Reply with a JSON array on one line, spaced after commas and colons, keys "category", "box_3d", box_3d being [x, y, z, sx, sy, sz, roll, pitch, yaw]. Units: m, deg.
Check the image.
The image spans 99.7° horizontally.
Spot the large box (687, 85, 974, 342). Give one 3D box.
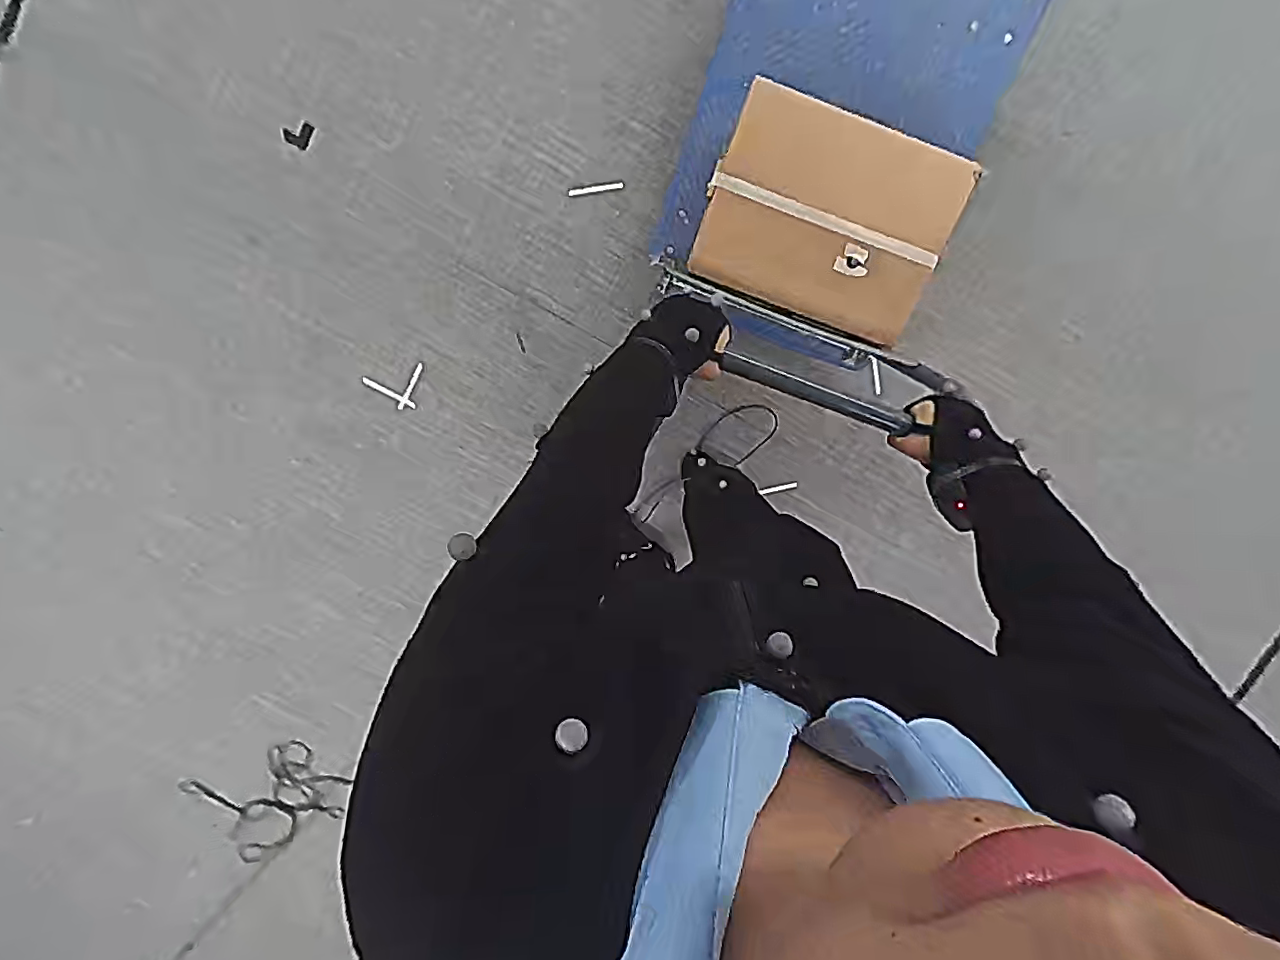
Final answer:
[{"category": "large box", "box_3d": [0.333, -0.499, 1.082, 0.408, 0.320, 0.320, 19, 110, -3]}]
